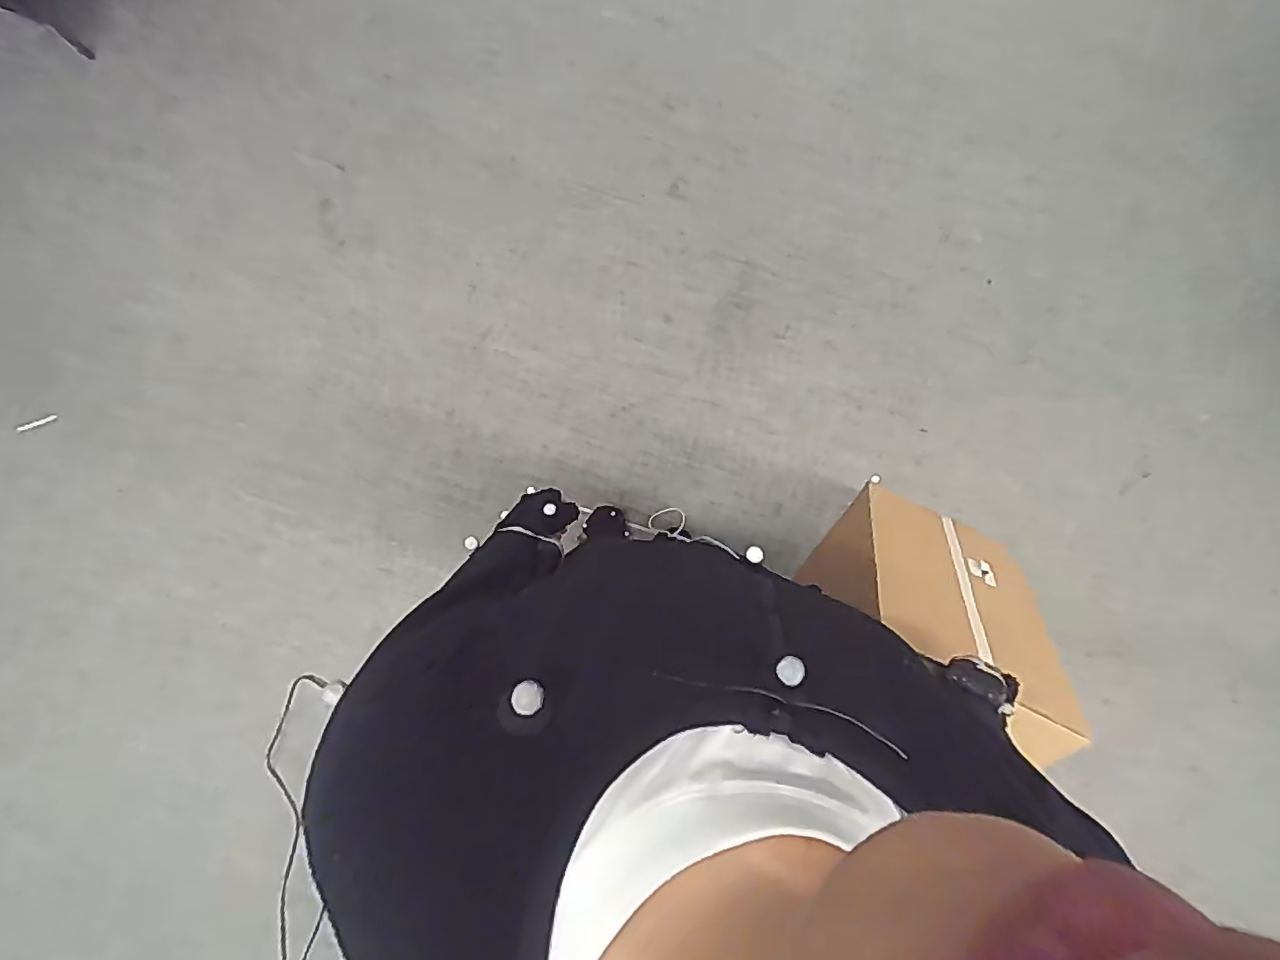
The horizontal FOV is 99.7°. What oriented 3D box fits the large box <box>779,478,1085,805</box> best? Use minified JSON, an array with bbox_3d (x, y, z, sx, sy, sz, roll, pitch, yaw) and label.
[{"bbox_3d":[0.471,0.274,0.977,0.320,0.408,0.320,27,127,2],"label":"large box"}]
